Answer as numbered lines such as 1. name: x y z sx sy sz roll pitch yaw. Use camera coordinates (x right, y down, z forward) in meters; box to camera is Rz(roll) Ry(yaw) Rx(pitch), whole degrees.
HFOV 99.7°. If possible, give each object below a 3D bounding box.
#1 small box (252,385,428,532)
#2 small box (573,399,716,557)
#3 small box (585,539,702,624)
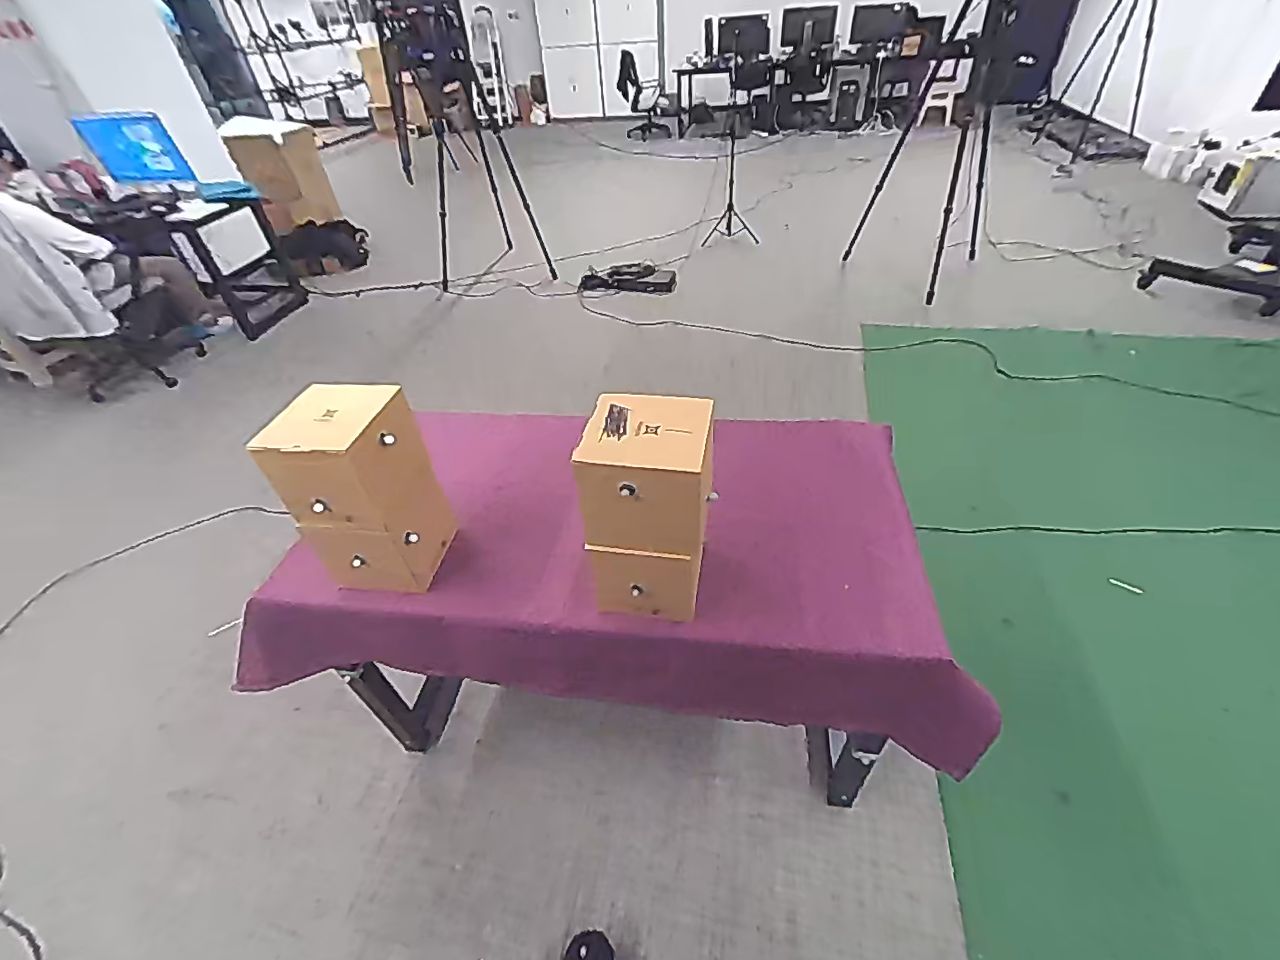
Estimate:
1. small box: -0.474 -0.038 0.892 0.168 0.176 0.179 3 43 9
2. small box: 0.015 -0.003 0.809 0.179 0.176 0.168 6 43 11
3. small box: 0.017 0.121 0.918 0.168 0.176 0.179 5 43 11
